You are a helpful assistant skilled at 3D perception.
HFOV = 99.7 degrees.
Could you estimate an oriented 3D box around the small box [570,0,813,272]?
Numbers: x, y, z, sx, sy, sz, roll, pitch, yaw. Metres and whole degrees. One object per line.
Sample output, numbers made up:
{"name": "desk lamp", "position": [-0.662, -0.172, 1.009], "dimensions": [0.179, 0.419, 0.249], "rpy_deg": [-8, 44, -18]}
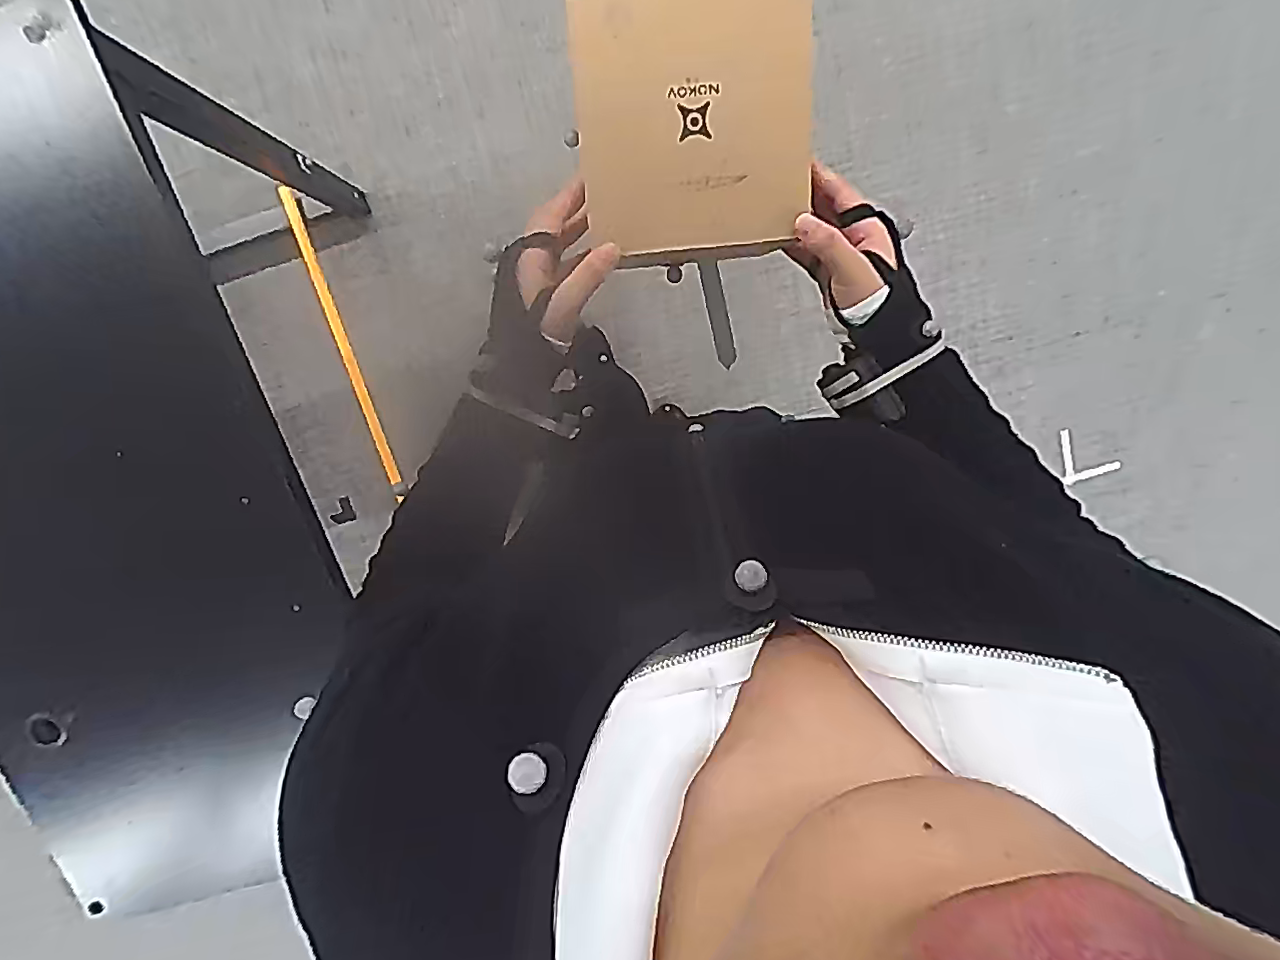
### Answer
{"name": "small box", "position": [0.038, -0.279, 0.455], "dimensions": [0.168, 0.176, 0.179], "rpy_deg": [-5, 108, 2]}
